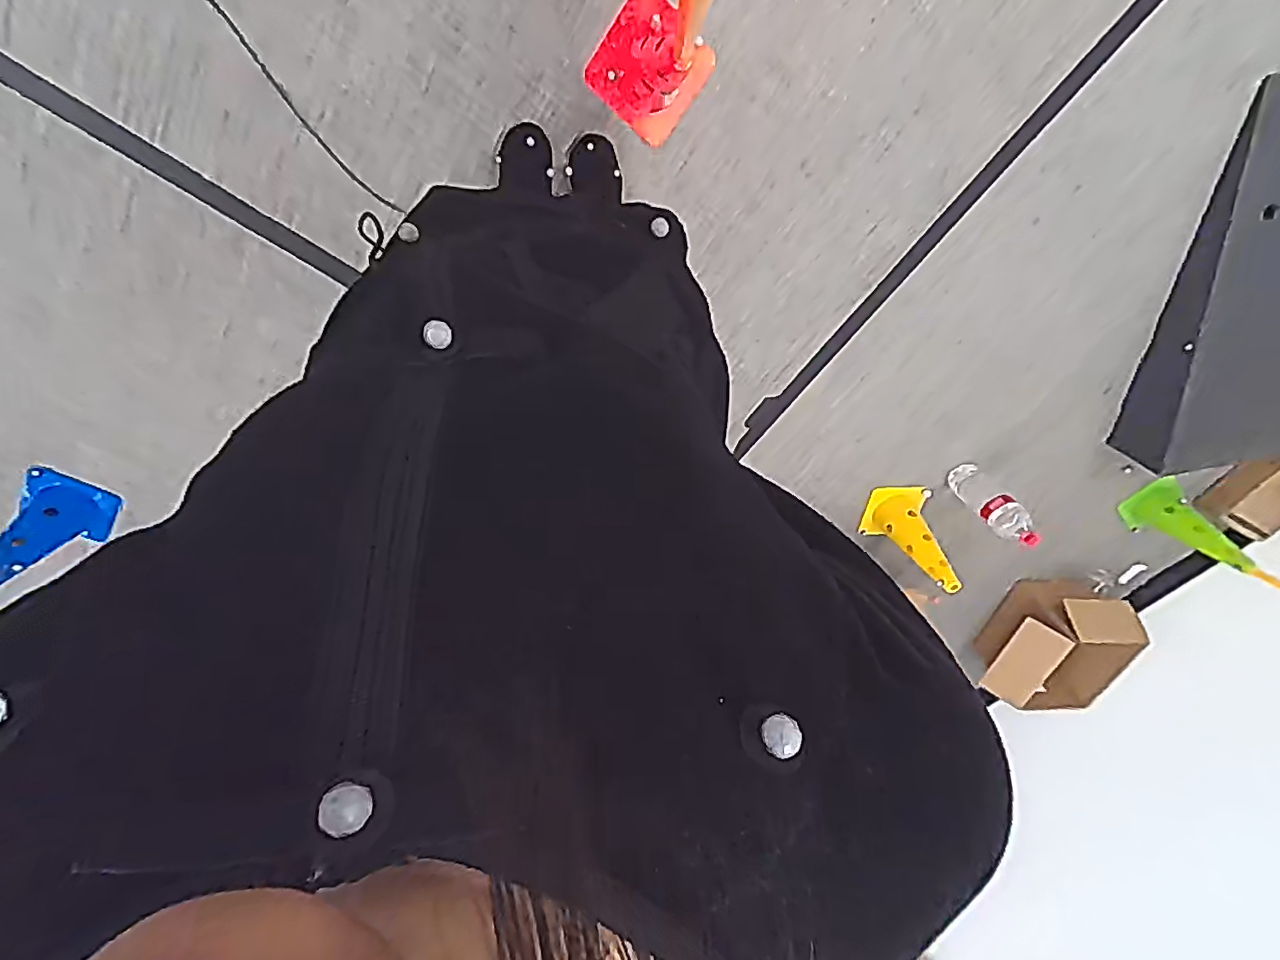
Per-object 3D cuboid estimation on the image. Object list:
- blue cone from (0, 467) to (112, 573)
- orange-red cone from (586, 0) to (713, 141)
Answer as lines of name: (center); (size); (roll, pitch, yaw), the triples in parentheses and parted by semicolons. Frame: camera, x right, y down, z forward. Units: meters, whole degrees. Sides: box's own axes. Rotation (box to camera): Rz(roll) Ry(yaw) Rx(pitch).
blue cone: (-1.536, 0.159, 1.327); (0.192, 0.380, 0.193); (33, 114, -26)
orange-red cone: (0.040, -0.710, 0.914); (0.199, 0.360, 0.198); (32, 115, -27)
